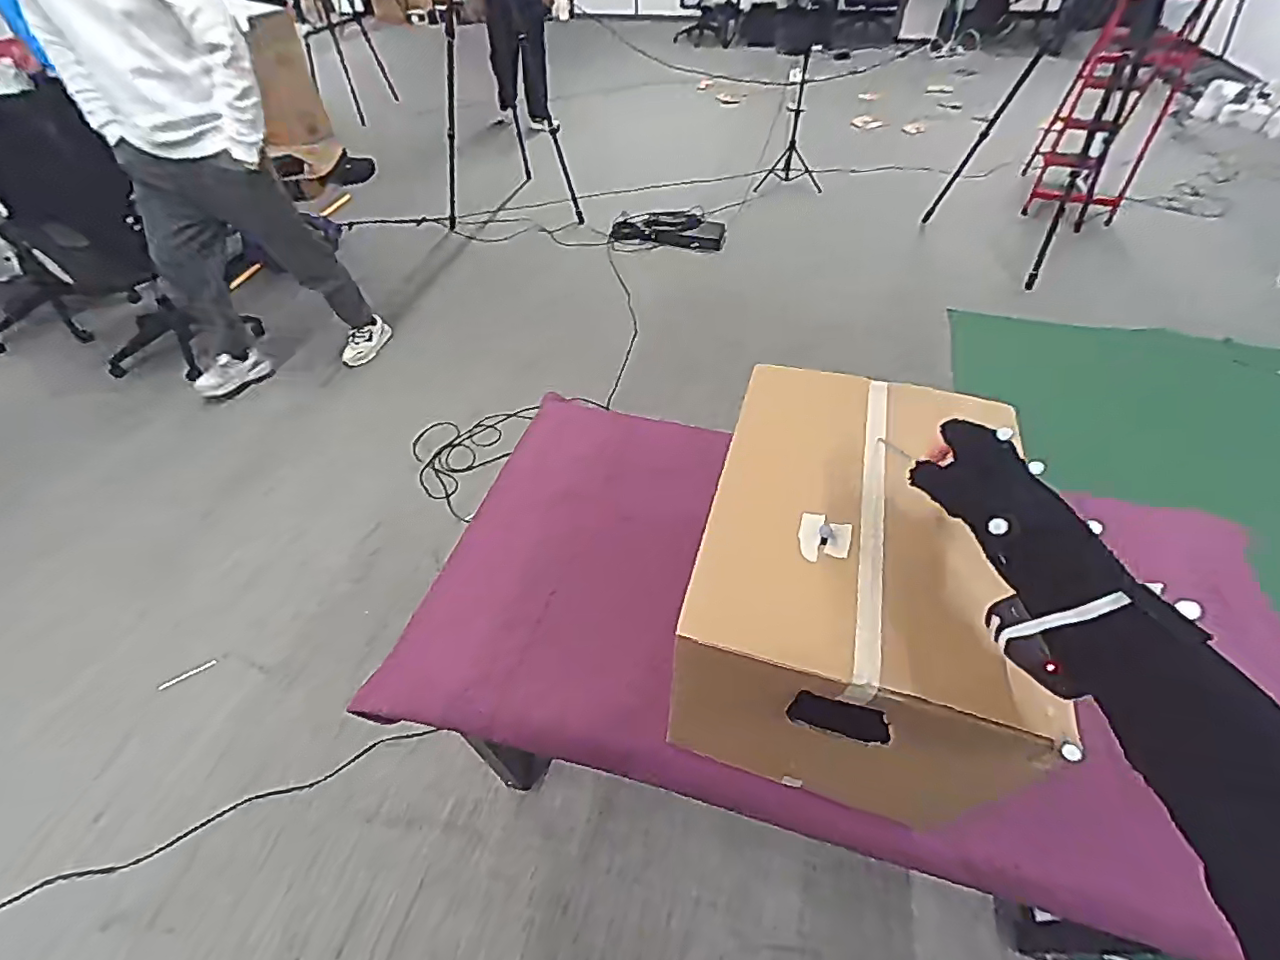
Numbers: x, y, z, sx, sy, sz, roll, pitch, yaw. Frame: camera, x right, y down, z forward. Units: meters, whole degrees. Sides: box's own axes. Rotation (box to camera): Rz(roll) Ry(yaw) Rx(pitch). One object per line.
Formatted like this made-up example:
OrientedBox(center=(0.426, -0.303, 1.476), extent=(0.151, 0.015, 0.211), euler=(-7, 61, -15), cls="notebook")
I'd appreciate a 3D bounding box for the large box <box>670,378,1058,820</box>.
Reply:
OrientedBox(center=(0.239, 0.135, 0.685), extent=(0.320, 0.320, 0.408), euler=(13, 50, 13), cls="large box")
